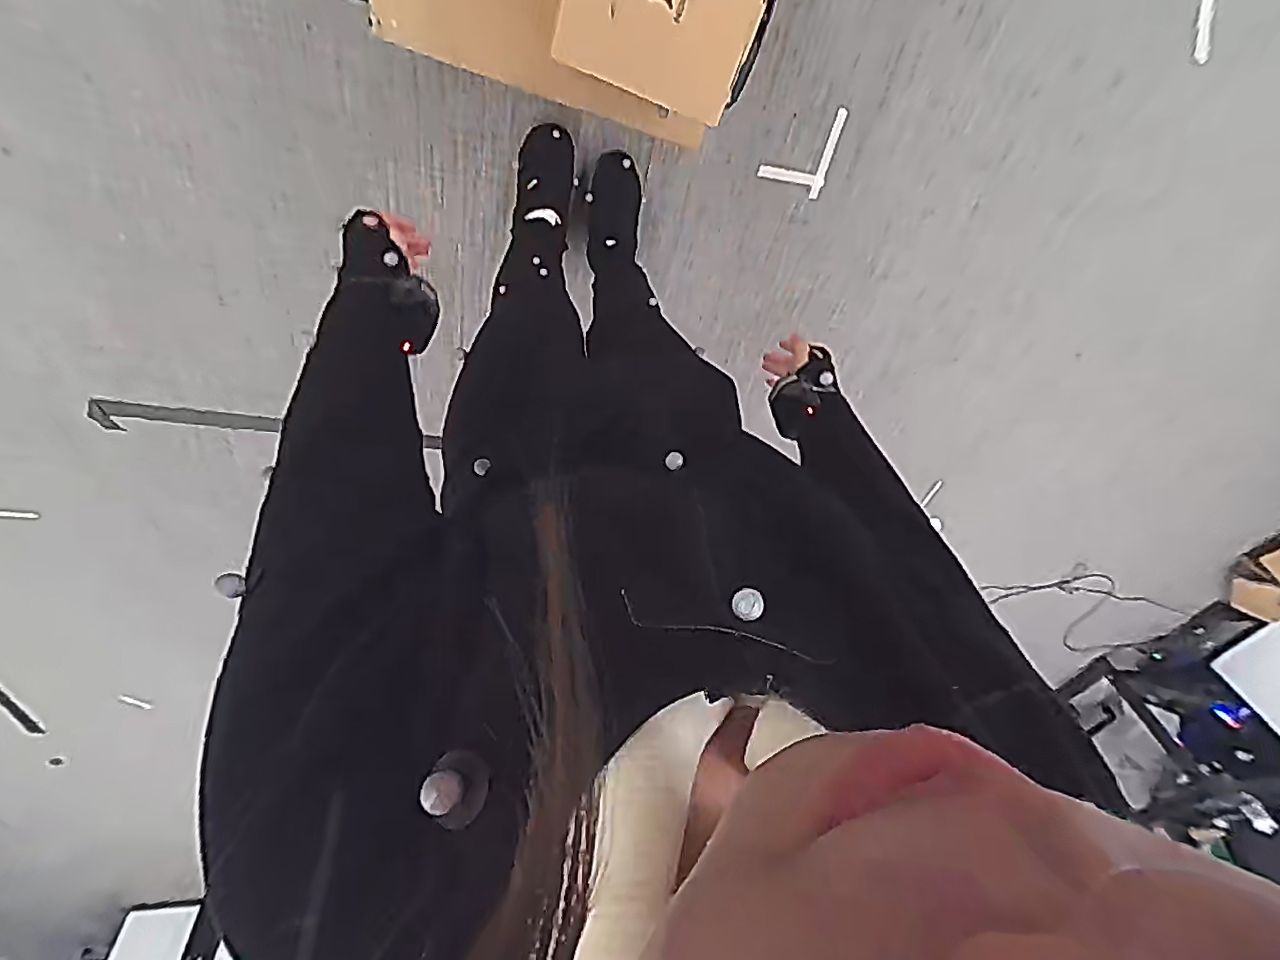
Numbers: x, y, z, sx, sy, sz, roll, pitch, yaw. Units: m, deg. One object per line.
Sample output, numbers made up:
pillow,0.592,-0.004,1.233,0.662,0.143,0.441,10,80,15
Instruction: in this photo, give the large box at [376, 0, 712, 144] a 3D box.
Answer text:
large box,-0.076,-0.674,0.672,0.408,0.320,0.320,9,128,-16

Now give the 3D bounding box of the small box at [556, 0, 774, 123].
small box,0.024,-0.485,0.526,0.179,0.176,0.168,12,129,-18
